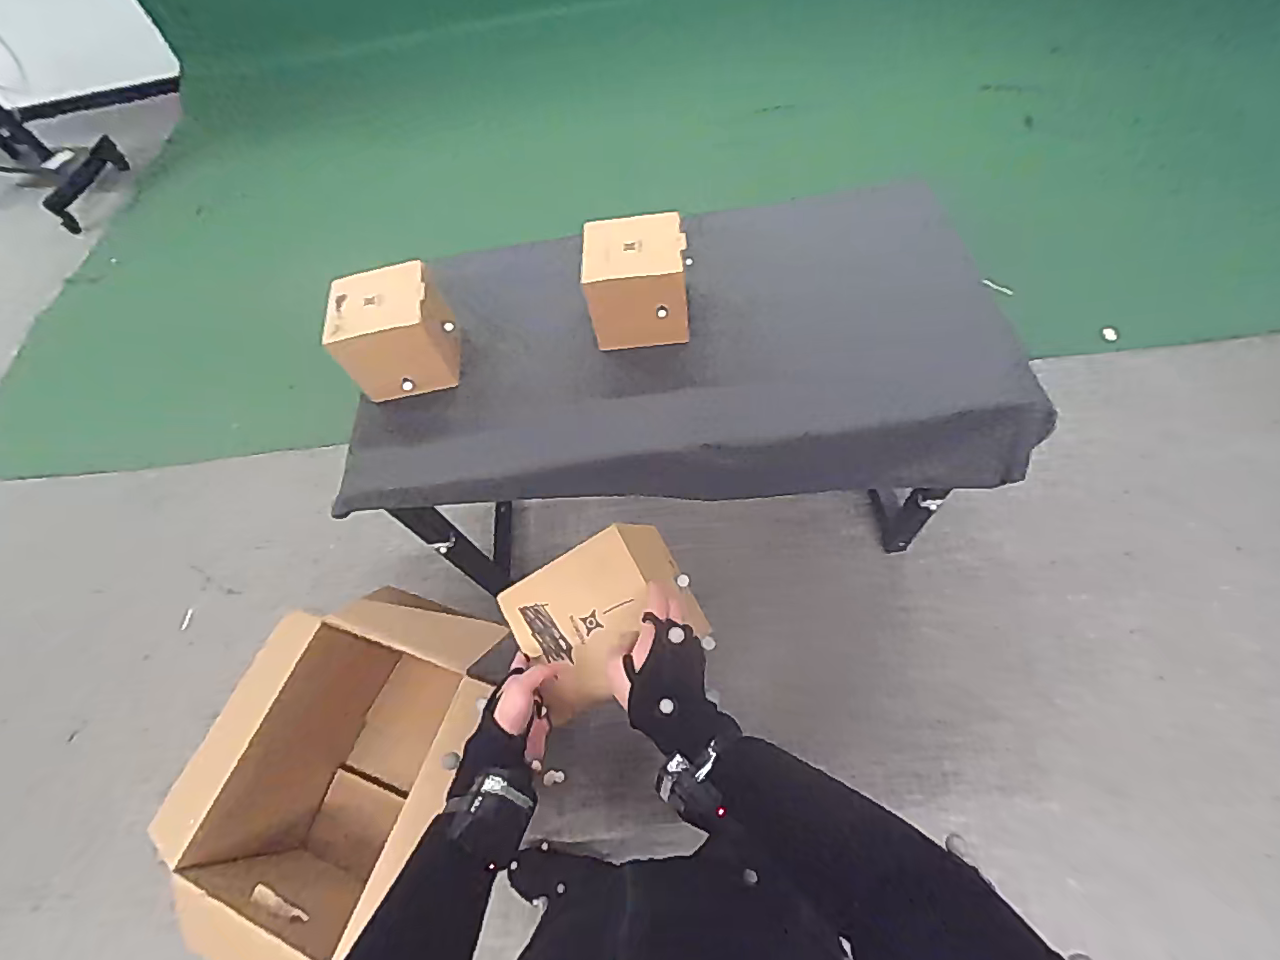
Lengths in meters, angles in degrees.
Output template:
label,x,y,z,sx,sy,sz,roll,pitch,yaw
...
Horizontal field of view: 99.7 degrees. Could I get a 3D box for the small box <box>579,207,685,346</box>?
label,x,y,z,sx,sy,sz,roll,pitch,yaw
small box,-0.007,-0.373,1.009,0.179,0.176,0.168,-5,60,7

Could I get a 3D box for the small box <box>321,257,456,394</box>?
label,x,y,z,sx,sy,sz,roll,pitch,yaw
small box,-0.461,-0.286,1.022,0.179,0.176,0.168,-11,60,1

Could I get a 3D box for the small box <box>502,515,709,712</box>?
label,x,y,z,sx,sy,sz,roll,pitch,yaw
small box,-0.034,0.160,0.683,0.179,0.176,0.168,-31,76,11
